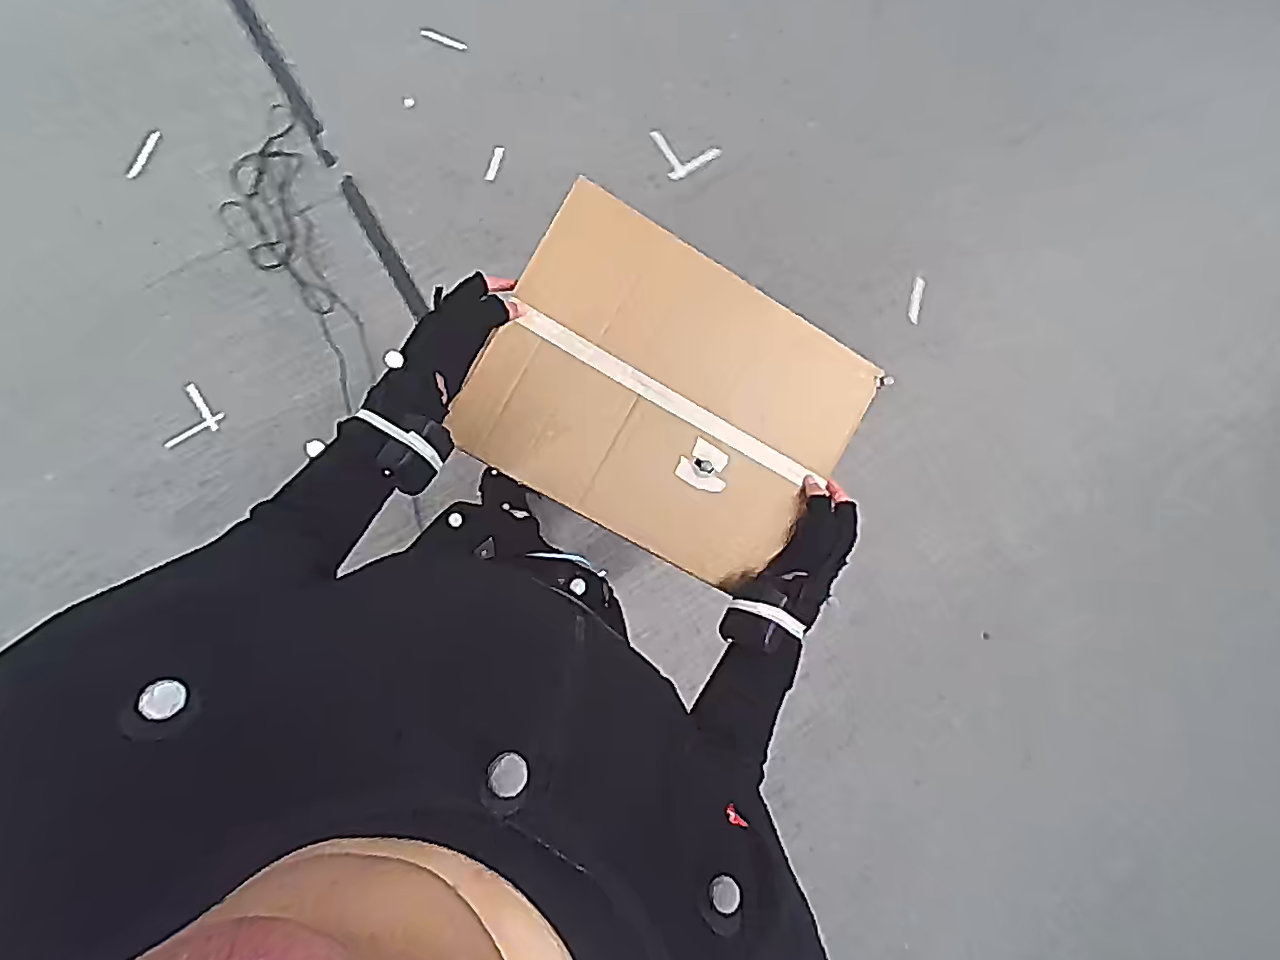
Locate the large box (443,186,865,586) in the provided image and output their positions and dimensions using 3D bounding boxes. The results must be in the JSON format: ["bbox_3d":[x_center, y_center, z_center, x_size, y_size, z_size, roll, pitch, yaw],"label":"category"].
[{"bbox_3d":[0.005,-0.105,0.755,0.408,0.320,0.320,29,90,-9],"label":"large box"}]
